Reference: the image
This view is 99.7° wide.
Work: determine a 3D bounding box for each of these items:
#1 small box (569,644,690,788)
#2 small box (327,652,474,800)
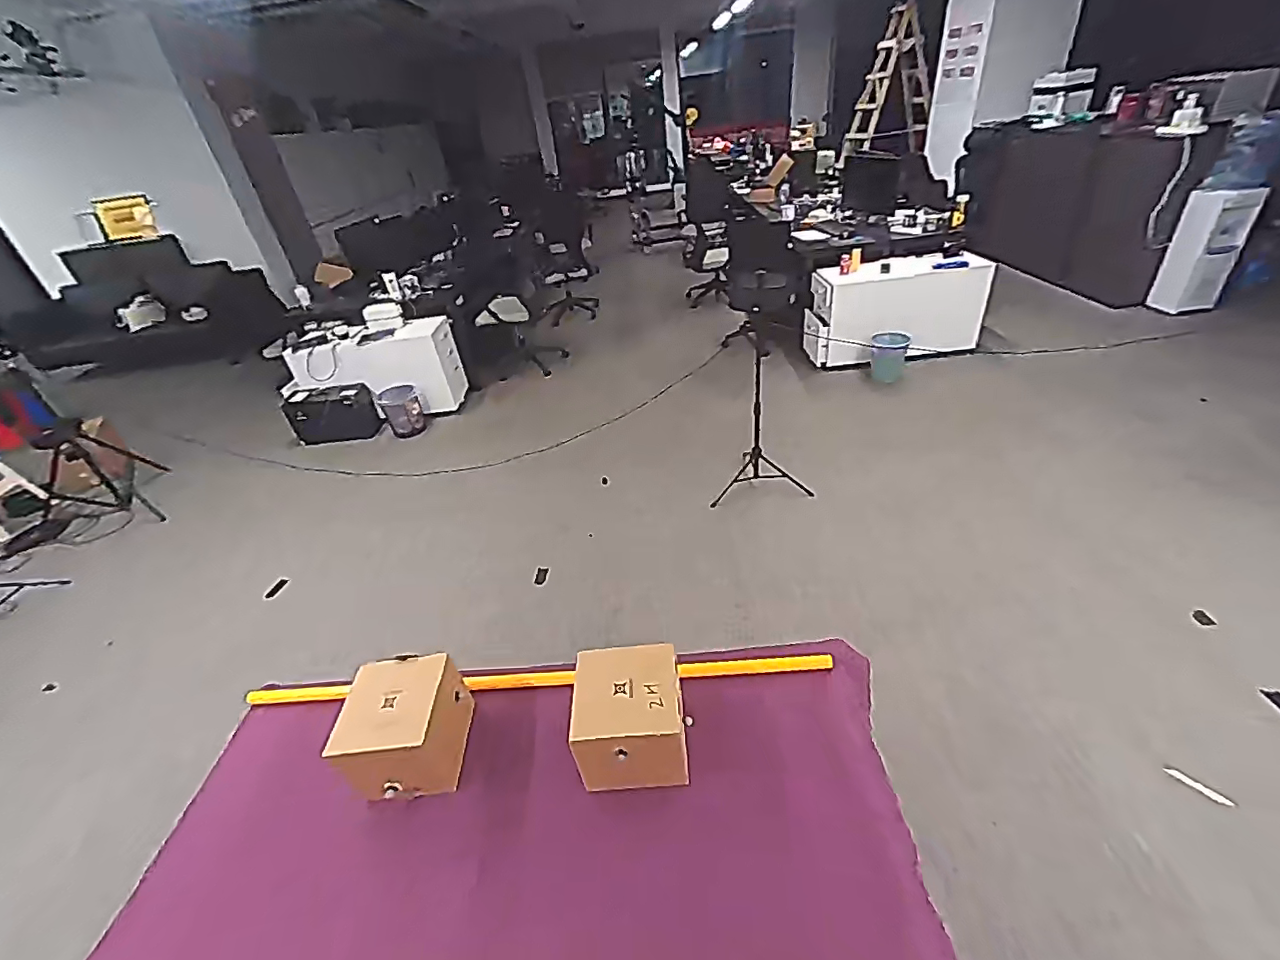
[{"bbox_3d":[-0.012,0.406,0.929,0.179,0.176,0.168,-6,36,4],"label":"small box"},{"bbox_3d":[-0.411,0.438,0.966,0.168,0.176,0.179,-7,36,2],"label":"small box"}]
